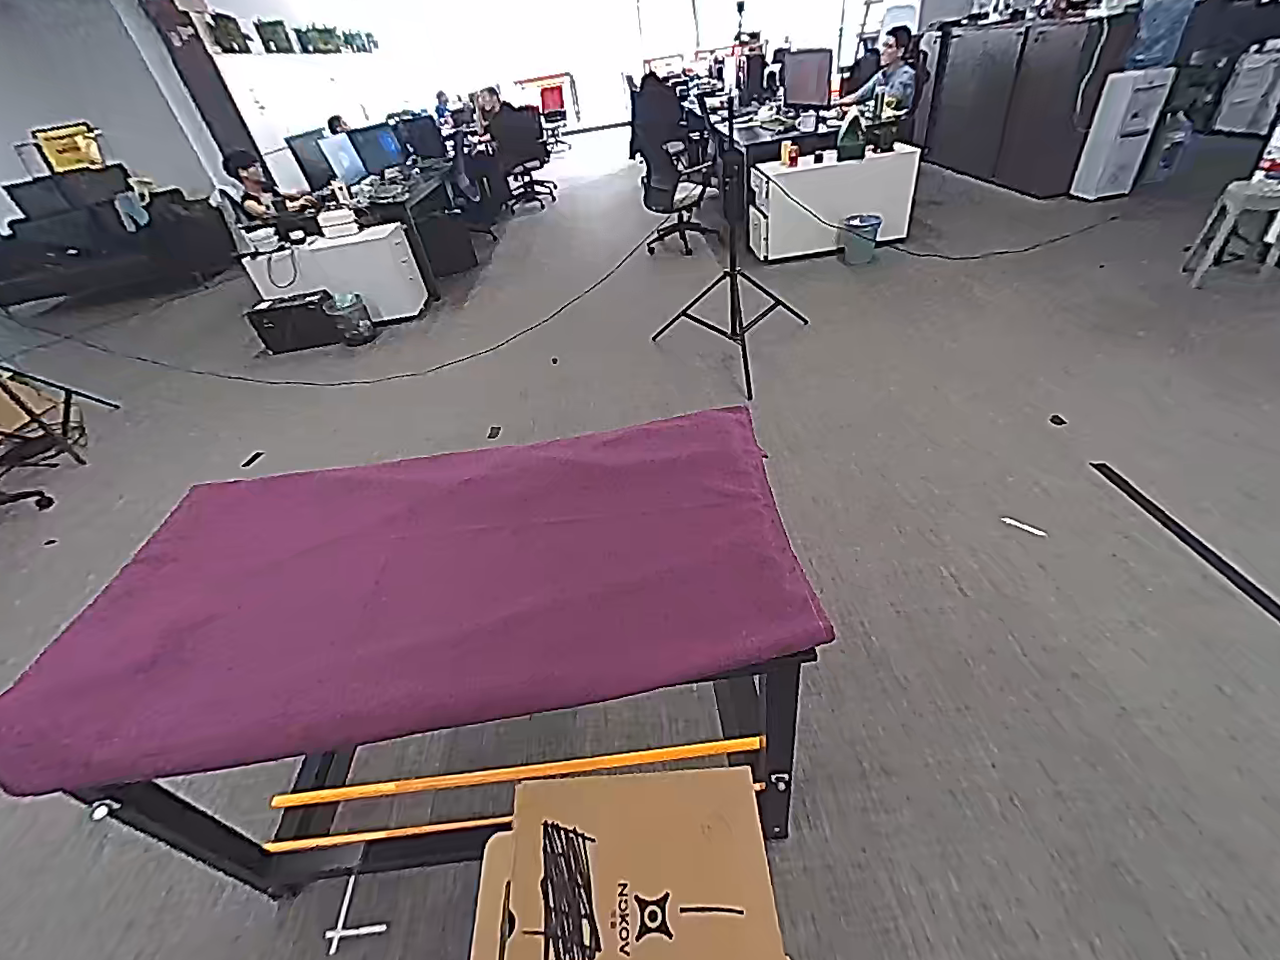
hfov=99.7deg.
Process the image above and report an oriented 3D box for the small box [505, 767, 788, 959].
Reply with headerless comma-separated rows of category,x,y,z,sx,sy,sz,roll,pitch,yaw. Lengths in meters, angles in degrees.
small box,0.005,0.332,0.403,0.179,0.176,0.168,-3,46,-1
